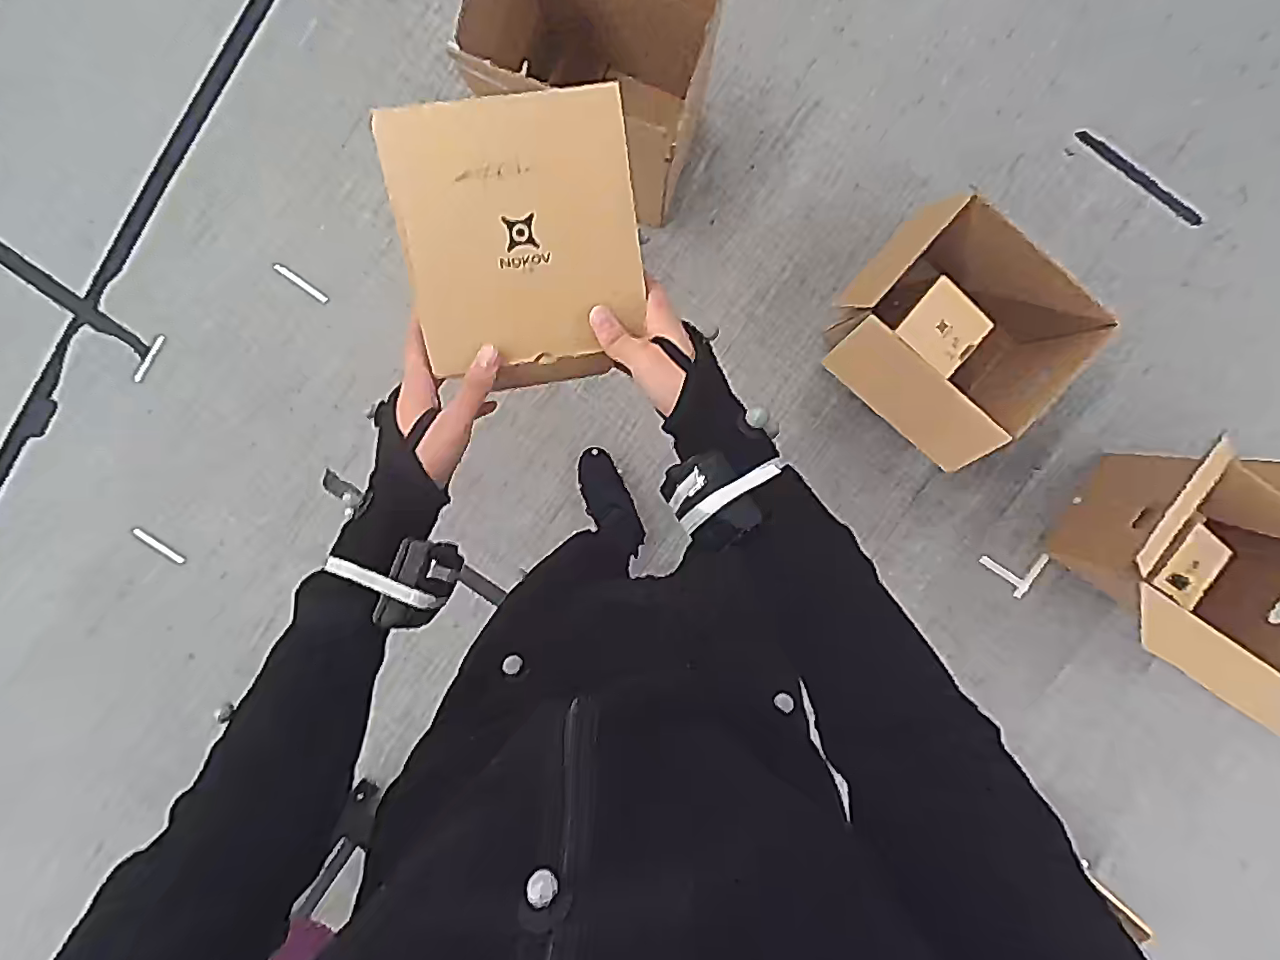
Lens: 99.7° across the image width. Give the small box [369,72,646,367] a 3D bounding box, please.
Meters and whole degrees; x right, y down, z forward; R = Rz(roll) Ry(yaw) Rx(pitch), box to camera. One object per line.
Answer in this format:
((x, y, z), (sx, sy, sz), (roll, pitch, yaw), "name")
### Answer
((-0.093, -0.198, 0.452), (0.168, 0.176, 0.179), (-9, 106, -5), "small box")
